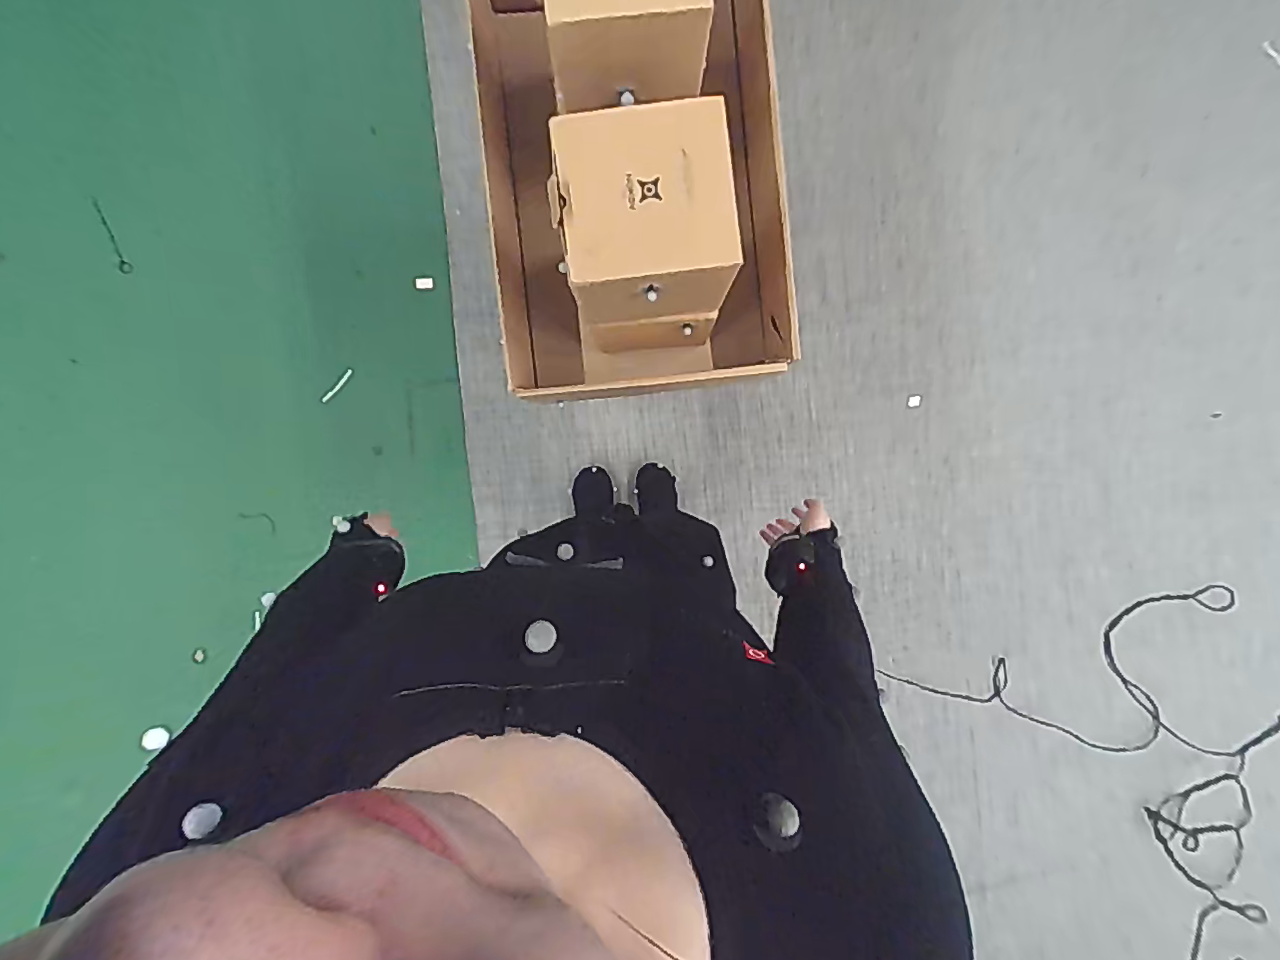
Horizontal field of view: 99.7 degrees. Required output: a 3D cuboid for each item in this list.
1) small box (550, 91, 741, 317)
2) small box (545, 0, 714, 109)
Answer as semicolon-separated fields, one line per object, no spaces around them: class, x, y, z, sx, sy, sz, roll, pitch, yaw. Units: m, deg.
small box;0.006;-0.293;0.612;0.179;0.176;0.168;-7;93;0
small box;-0.017;-0.544;0.594;0.168;0.176;0.179;-5;95;1
